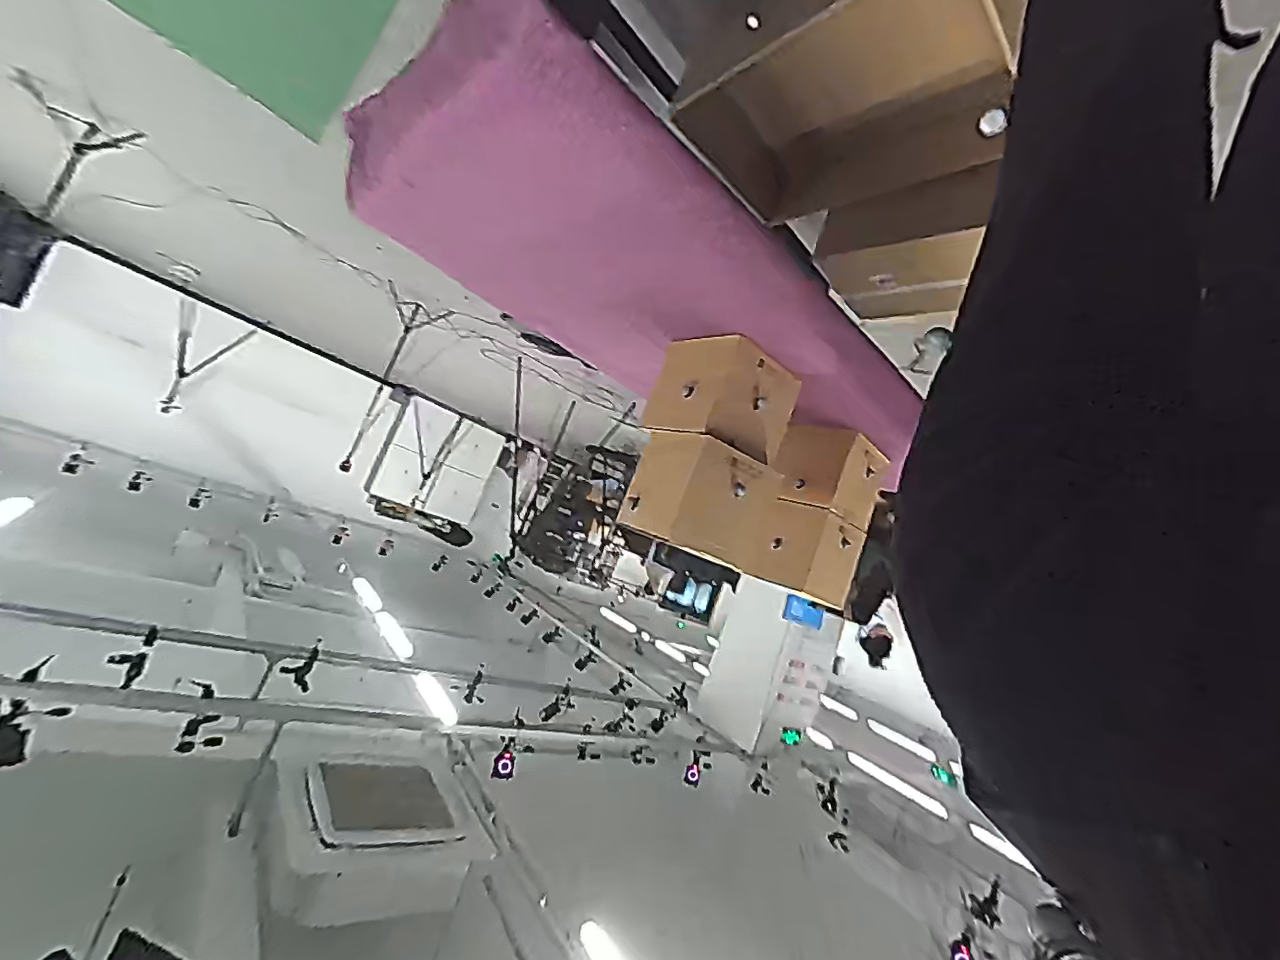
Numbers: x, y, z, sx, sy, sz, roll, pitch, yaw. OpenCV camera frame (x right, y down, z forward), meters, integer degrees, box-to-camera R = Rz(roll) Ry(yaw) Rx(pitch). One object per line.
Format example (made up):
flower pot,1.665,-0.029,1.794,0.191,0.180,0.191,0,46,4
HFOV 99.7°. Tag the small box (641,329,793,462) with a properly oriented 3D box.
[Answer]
small box,0.136,-0.140,0.912,0.168,0.176,0.179,26,172,-34

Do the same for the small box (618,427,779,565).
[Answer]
small box,0.096,0.019,0.880,0.168,0.176,0.179,24,173,-28

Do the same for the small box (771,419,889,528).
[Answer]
small box,0.387,-0.018,1.133,0.168,0.176,0.179,27,170,-40
